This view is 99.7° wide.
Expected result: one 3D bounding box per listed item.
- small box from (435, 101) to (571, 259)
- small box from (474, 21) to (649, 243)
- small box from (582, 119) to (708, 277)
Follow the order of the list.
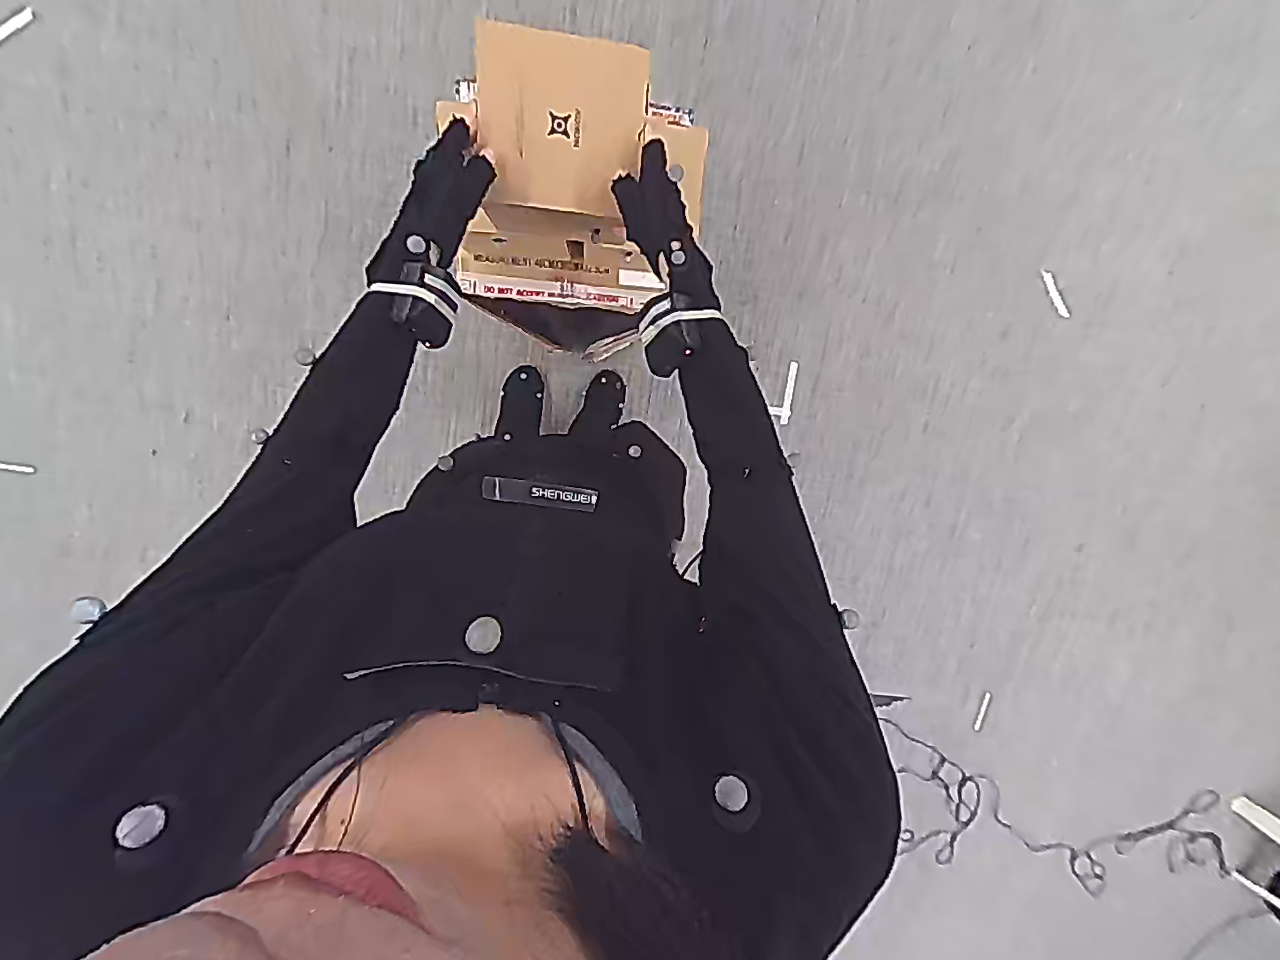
[{"bbox_3d":[-0.198,-0.443,0.824,0.179,0.176,0.168,2,102,-4],"label":"small box"},{"bbox_3d":[-0.092,-0.386,0.636,0.179,0.176,0.168,2,103,-8],"label":"small box"},{"bbox_3d":[-0.001,-0.432,0.844,0.168,0.176,0.179,4,101,-8],"label":"small box"}]
